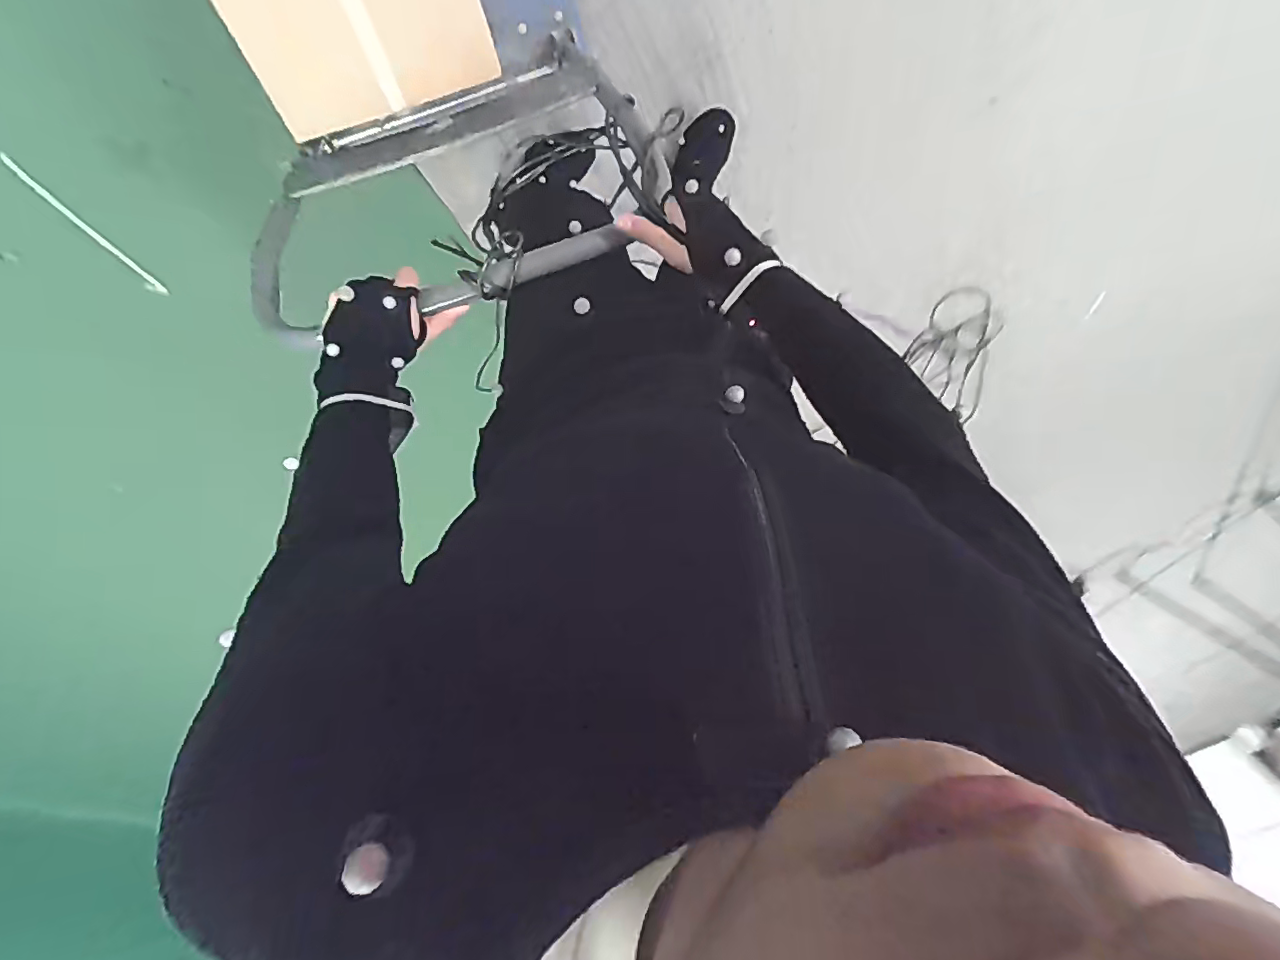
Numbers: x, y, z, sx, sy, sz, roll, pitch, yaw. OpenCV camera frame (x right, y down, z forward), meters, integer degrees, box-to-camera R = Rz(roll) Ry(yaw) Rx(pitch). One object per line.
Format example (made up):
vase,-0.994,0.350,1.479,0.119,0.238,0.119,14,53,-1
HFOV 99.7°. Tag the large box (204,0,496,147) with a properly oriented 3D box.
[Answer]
large box,-0.431,-0.759,0.739,0.320,0.320,0.408,-21,135,1
